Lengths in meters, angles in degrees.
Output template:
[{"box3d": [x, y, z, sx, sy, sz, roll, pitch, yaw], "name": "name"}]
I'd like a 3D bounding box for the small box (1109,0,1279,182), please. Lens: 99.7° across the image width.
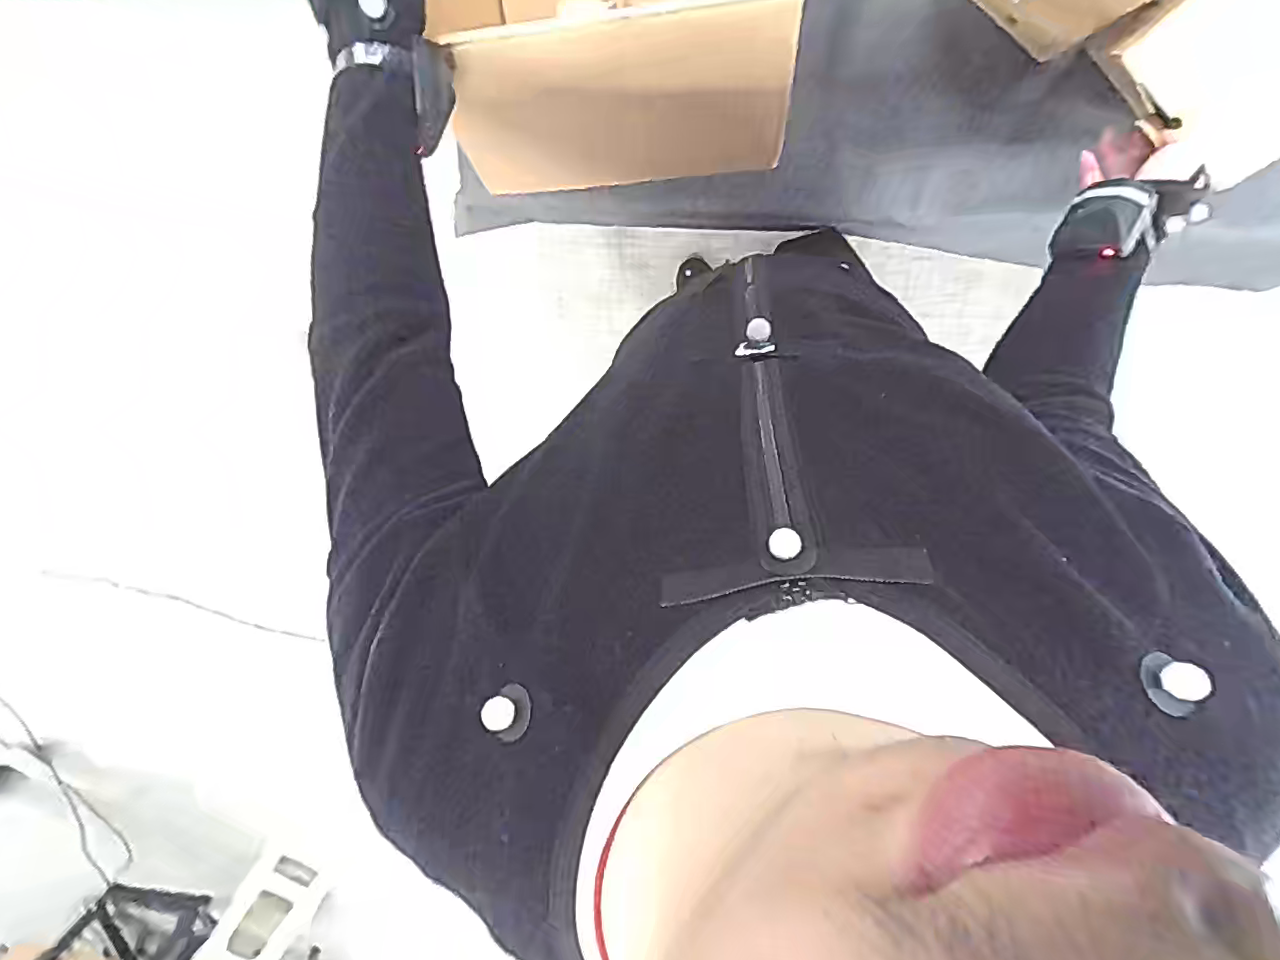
[{"box3d": [0.570, -0.417, 0.487, 0.168, 0.176, 0.179, 40, 137, -9], "name": "small box"}]
